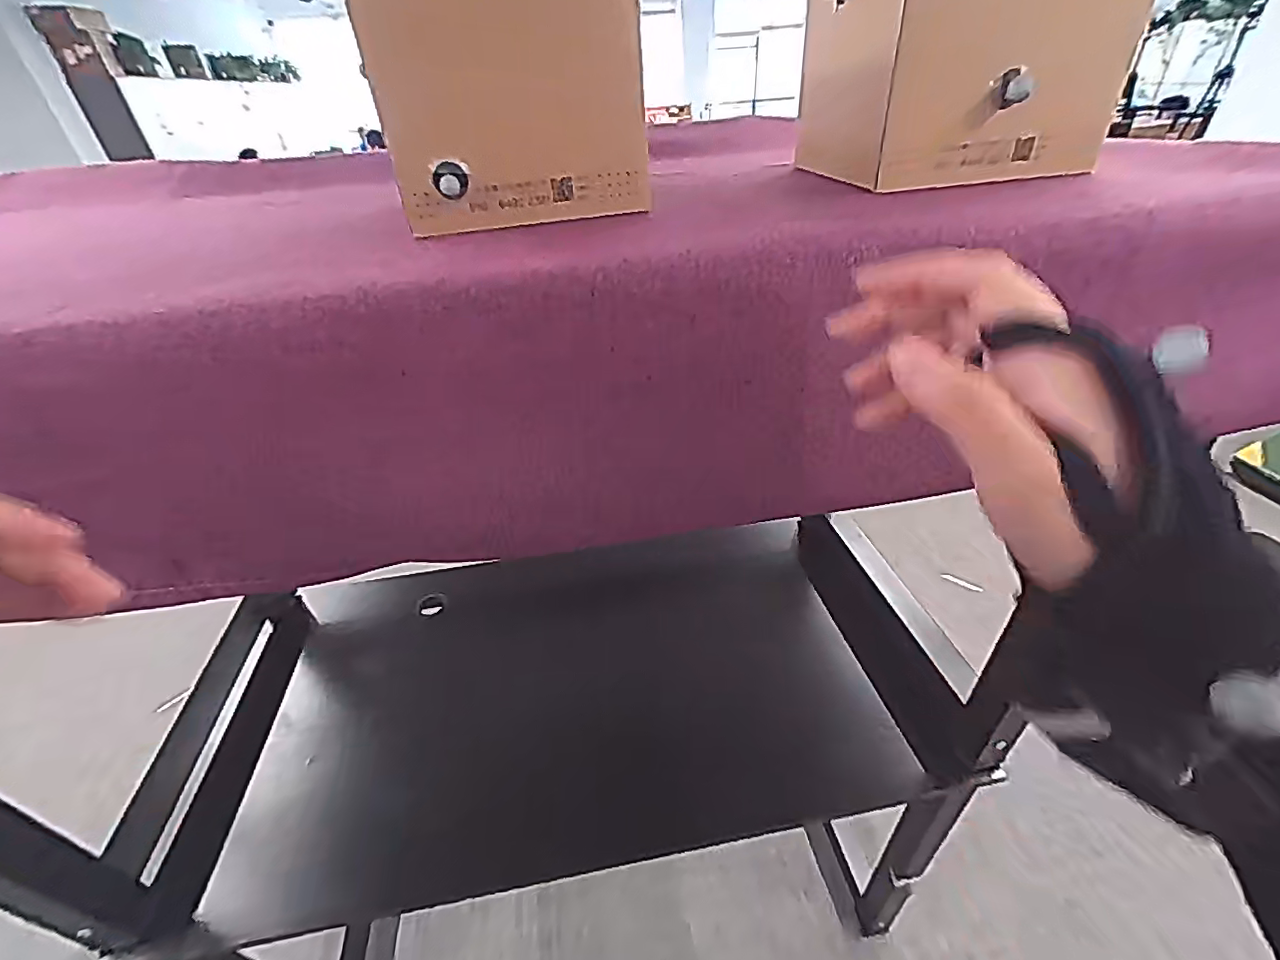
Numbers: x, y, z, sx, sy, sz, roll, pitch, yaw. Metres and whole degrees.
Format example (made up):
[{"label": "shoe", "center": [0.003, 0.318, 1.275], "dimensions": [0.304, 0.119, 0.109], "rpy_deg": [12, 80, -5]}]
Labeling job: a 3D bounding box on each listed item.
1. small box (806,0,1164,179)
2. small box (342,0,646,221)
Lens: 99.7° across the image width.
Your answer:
[{"label": "small box", "center": [0.234, -0.327, 0.398], "dimensions": [0.168, 0.176, 0.179], "rpy_deg": [-7, 36, -2]}, {"label": "small box", "center": [-0.096, -0.288, 0.380], "dimensions": [0.168, 0.176, 0.179], "rpy_deg": [-11, 36, -10]}]
